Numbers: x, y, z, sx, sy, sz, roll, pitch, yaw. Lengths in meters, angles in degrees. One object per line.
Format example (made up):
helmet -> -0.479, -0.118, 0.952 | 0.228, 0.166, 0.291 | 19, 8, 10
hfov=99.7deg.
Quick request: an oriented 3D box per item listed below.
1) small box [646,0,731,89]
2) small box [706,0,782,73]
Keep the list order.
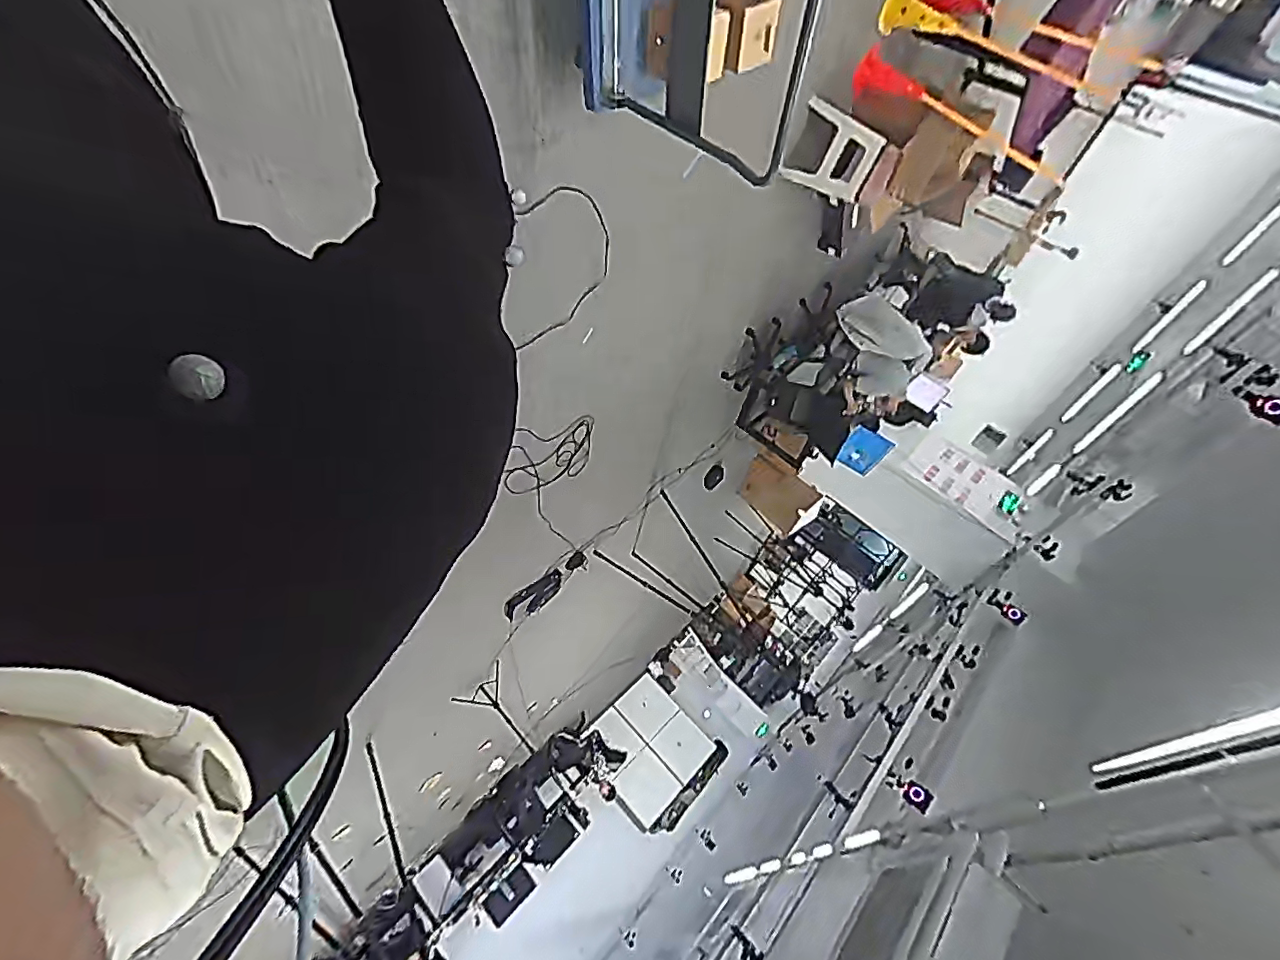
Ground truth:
small box -> 0.142, -1.316, 1.627 | 0.179, 0.176, 0.168 | -37, 155, -26
small box -> 0.322, -1.451, 1.736 | 0.179, 0.176, 0.168 | -38, 155, -23
